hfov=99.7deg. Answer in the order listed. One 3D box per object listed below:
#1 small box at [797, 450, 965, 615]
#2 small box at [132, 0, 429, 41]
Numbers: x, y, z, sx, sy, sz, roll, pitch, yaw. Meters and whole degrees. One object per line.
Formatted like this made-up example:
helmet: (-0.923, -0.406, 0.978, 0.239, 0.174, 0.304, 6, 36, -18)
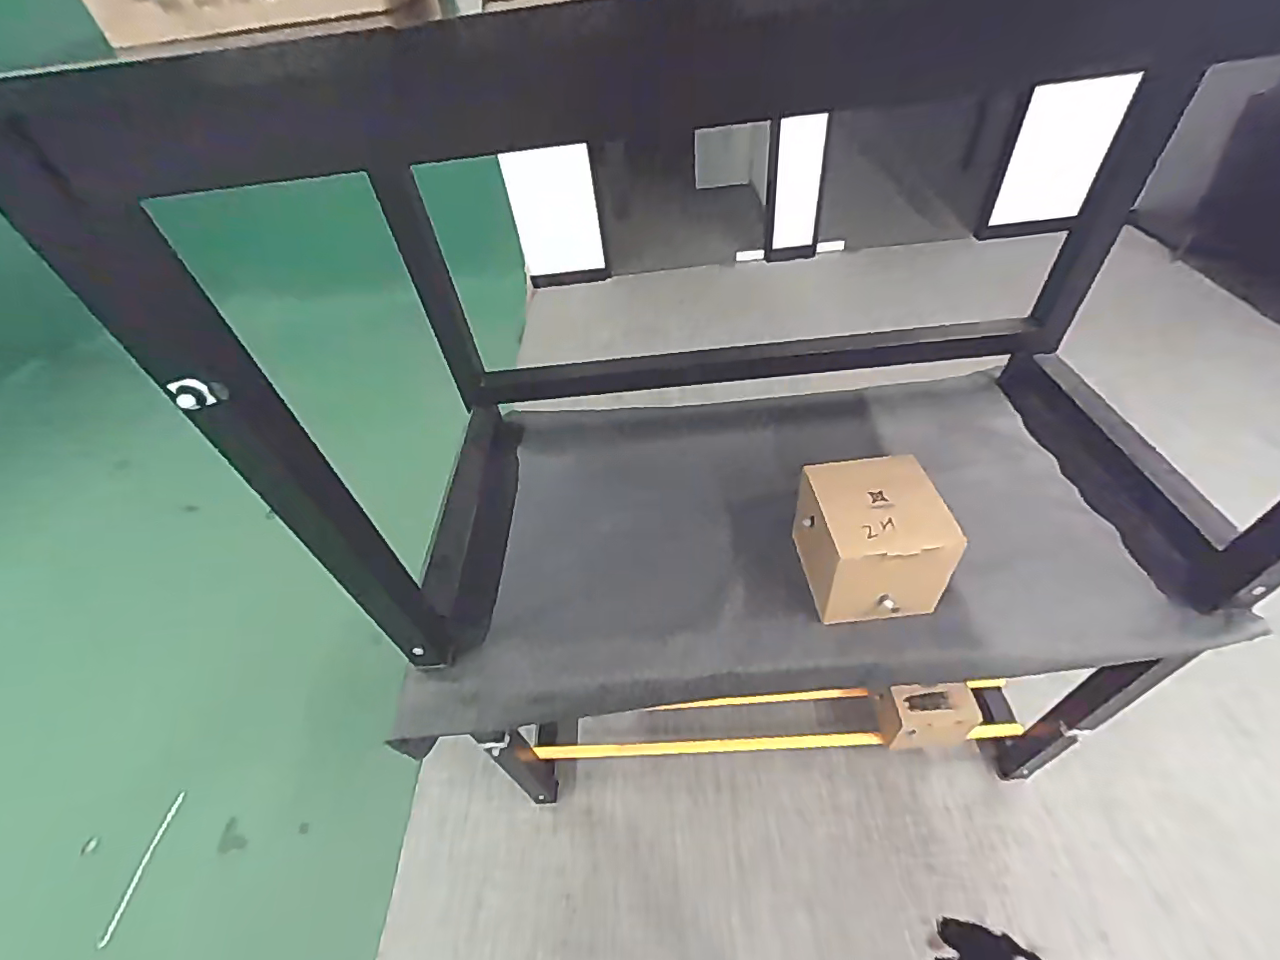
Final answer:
small box: (0.344, 0.080, 0.815, 0.168, 0.176, 0.179, -7, 45, 2)
small box: (-0.236, -0.387, 0.328, 0.168, 0.176, 0.179, -7, 45, -1)
